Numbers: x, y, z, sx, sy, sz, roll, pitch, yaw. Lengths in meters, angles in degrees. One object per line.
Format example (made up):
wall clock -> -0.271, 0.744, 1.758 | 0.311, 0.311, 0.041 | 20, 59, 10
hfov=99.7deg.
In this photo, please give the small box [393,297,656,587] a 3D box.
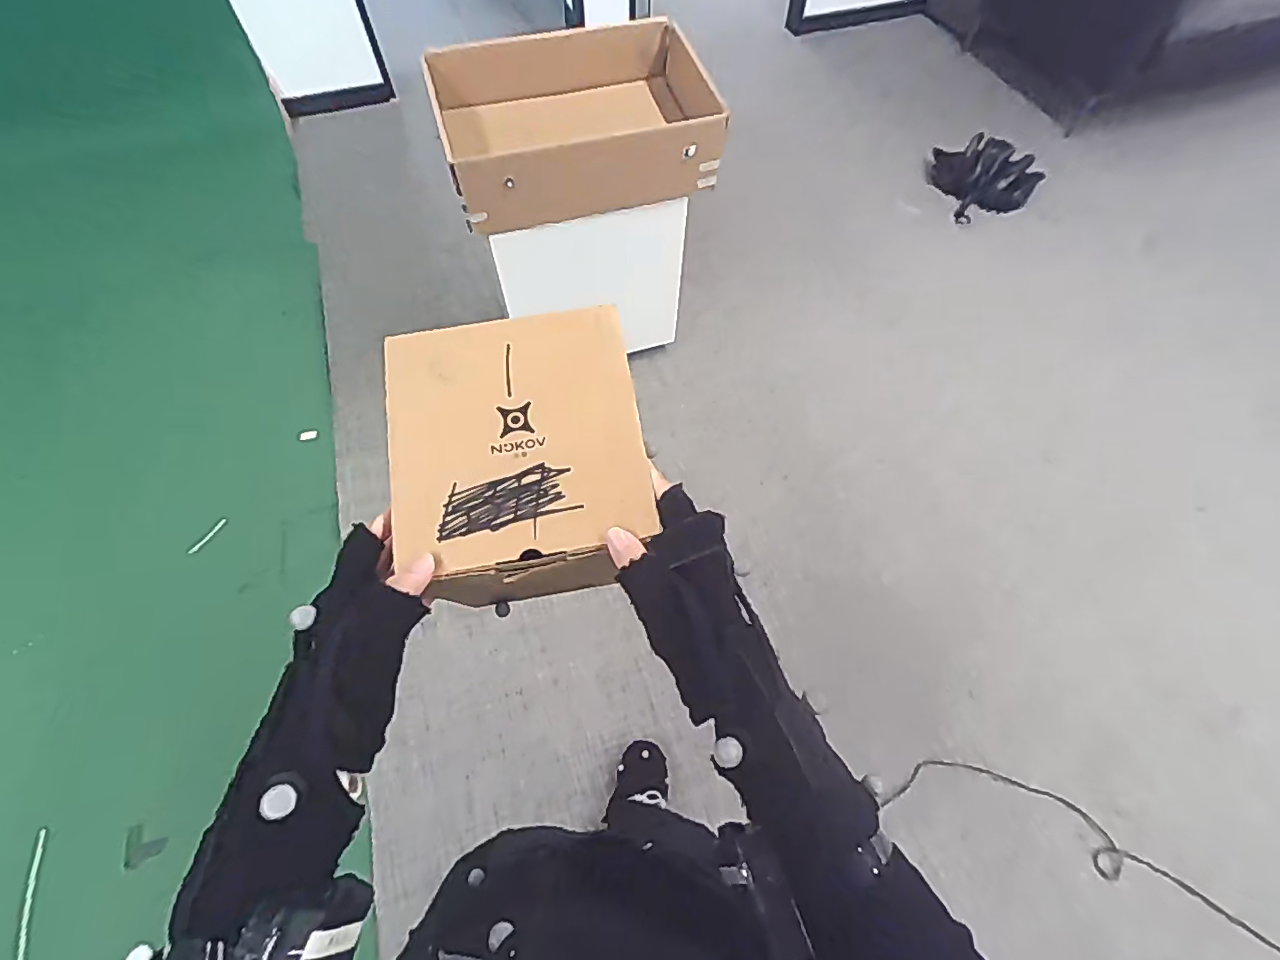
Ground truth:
small box -> -0.080, -0.014, 0.437 | 0.168, 0.176, 0.179 | -9, 72, -3
